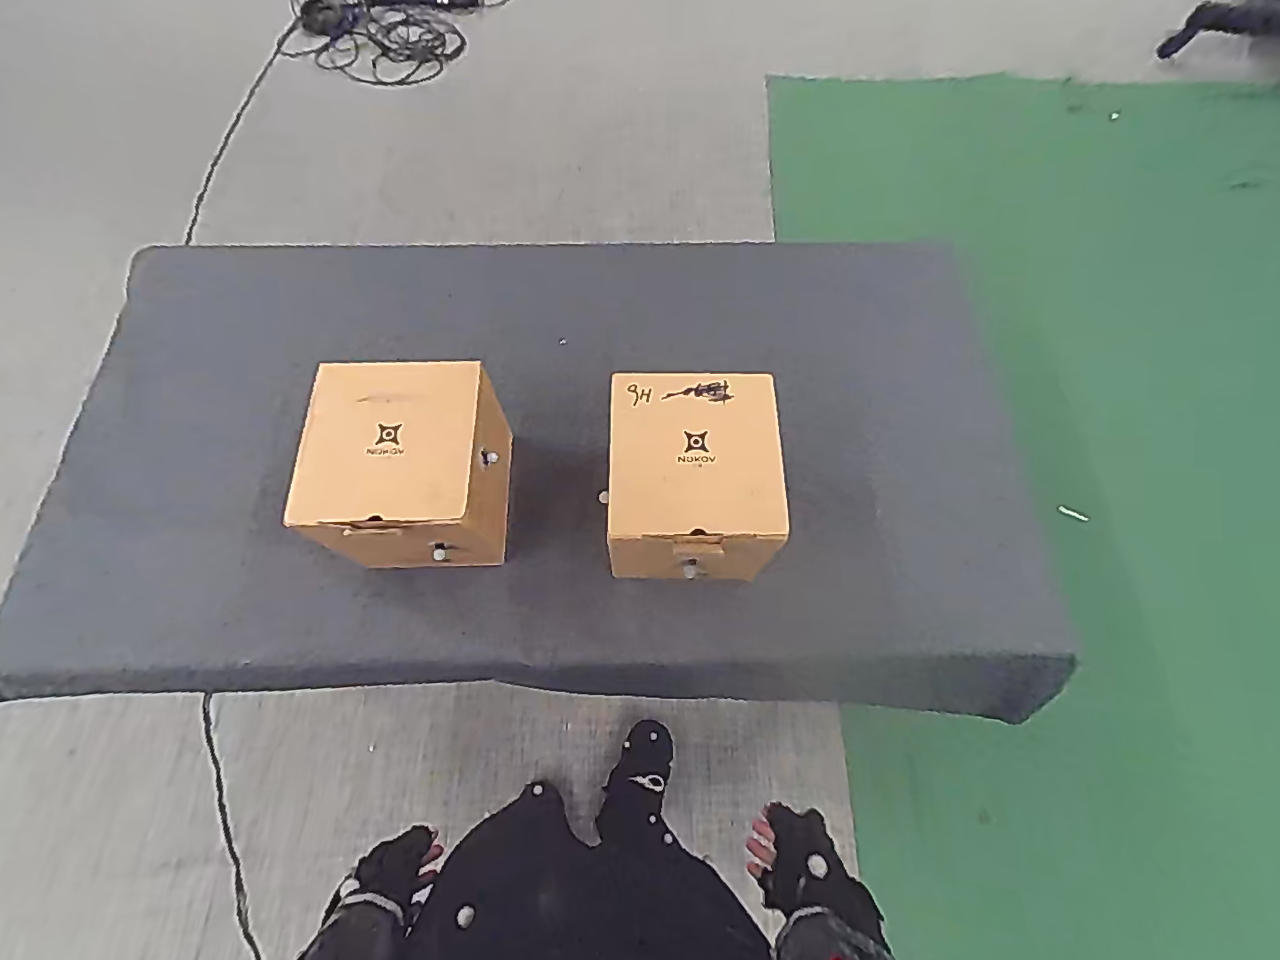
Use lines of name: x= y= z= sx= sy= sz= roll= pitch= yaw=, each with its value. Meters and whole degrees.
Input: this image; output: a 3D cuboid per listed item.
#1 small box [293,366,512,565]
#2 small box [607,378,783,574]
small box: x=-0.242 y=-0.006 z=0.603 sx=0.168 sy=0.176 sz=0.179 roll=-1 pitch=66 yaw=-3
small box: x=0.052 y=0.005 z=0.600 sx=0.168 sy=0.176 sz=0.179 roll=0 pitch=68 yaw=-1
